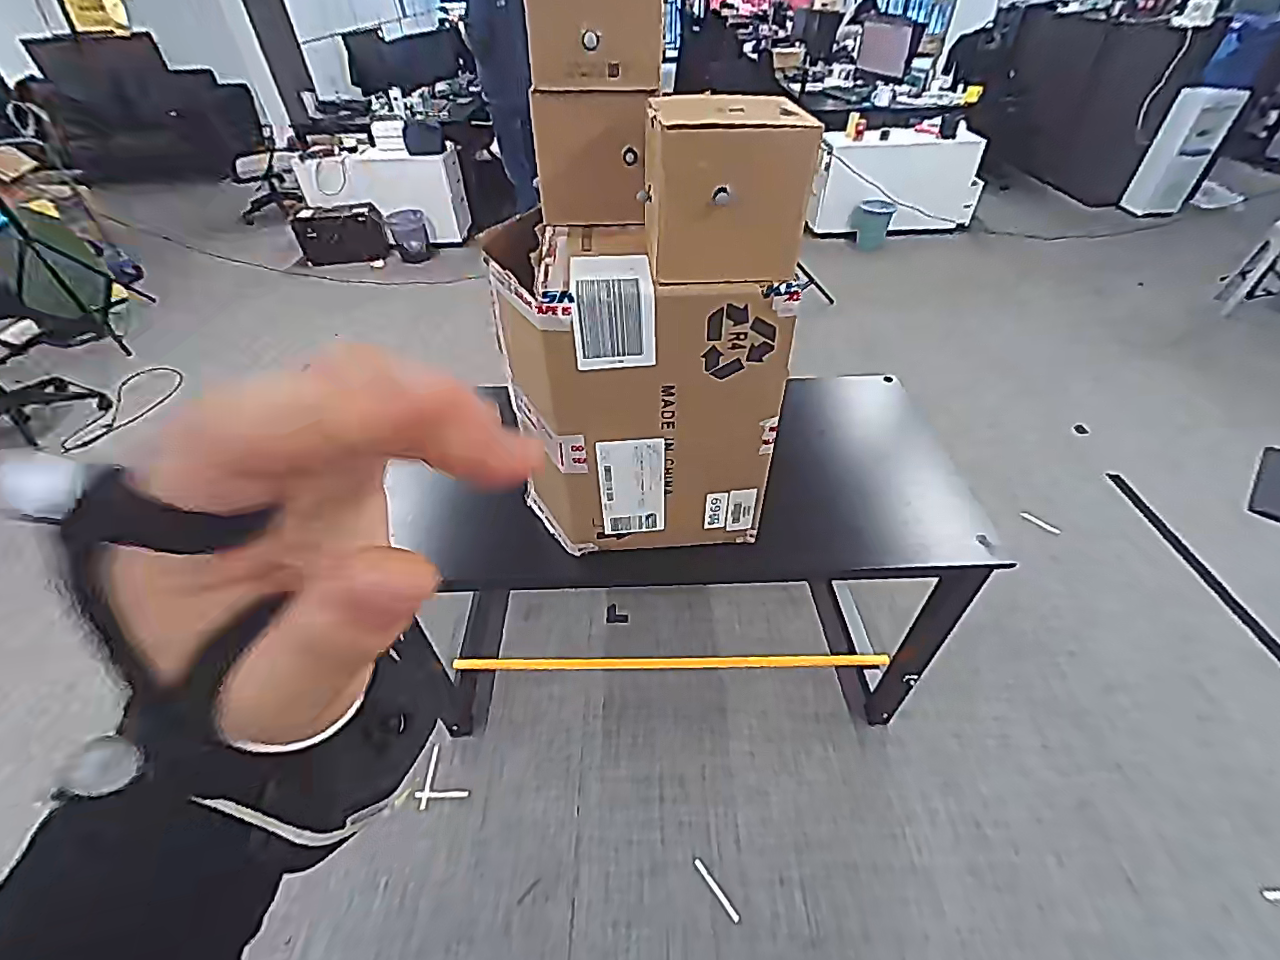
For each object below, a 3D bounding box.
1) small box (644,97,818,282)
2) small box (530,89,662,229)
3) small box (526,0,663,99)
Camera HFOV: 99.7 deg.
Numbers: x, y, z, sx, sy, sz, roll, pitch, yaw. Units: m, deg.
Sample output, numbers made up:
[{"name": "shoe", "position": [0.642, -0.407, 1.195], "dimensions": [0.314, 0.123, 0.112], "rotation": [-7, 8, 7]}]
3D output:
[{"name": "small box", "position": [0.100, -0.360, 0.677], "dimensions": [0.179, 0.176, 0.168], "rotation": [-3, 45, -2]}, {"name": "small box", "position": [-0.062, -0.493, 0.821], "dimensions": [0.179, 0.176, 0.168], "rotation": [-4, 40, -3]}, {"name": "small box", "position": [-0.059, -0.613, 0.709], "dimensions": [0.168, 0.176, 0.179], "rotation": [-3, 41, -3]}]
